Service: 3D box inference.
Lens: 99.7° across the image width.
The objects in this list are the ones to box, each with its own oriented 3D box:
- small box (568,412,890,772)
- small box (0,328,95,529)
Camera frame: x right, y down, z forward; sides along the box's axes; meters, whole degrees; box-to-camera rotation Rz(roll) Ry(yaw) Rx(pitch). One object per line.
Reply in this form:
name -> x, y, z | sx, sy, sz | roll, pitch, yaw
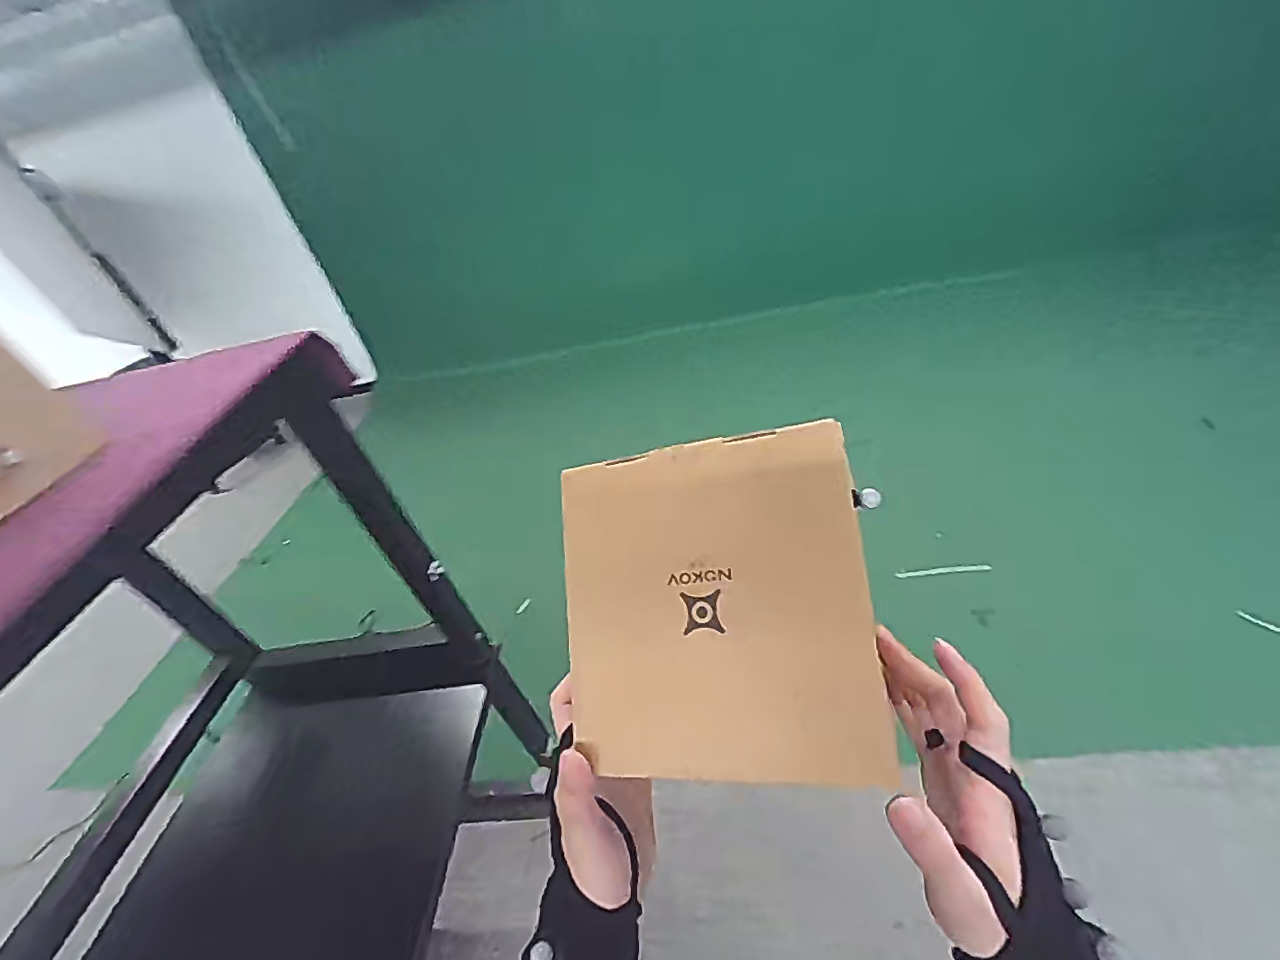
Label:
small box -> 0.067, 0.074, 0.365 | 0.168, 0.176, 0.179 | -10, 75, 23
small box -> -0.675, -0.033, 0.495 | 0.168, 0.176, 0.179 | -11, 37, 10
